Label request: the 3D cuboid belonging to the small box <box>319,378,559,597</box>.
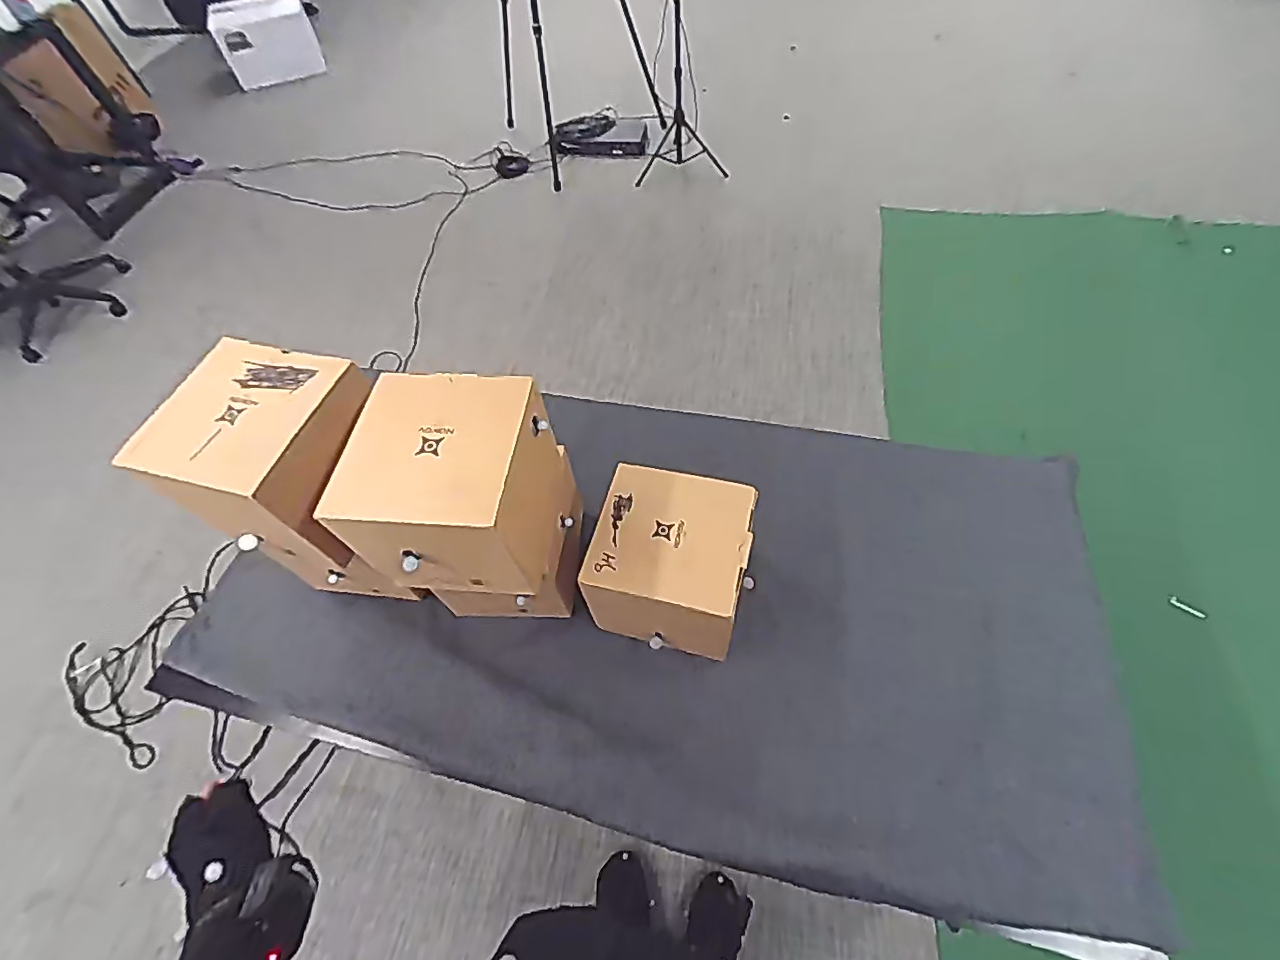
[{"bbox_3d":[-0.189,0.013,0.576,0.168,0.176,0.179,3,56,5],"label":"small box"}]
